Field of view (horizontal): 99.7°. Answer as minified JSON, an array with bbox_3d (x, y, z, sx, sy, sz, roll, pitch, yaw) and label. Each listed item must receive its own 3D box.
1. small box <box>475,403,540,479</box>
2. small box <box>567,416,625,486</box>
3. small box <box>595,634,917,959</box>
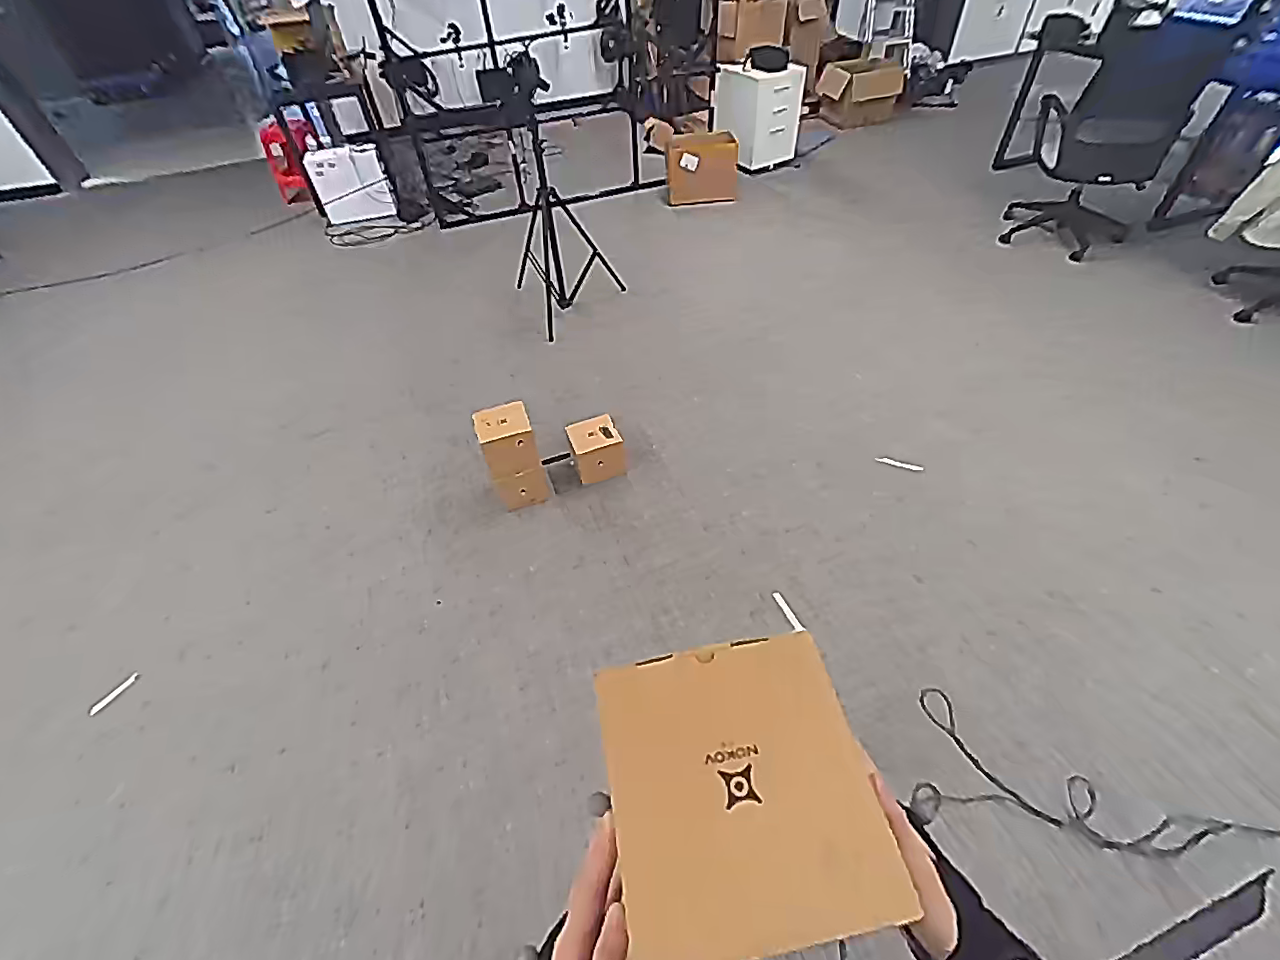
[{"bbox_3d":[-0.445,-0.131,1.838,0.179,0.176,0.168,-17,48,-11],"label":"small box"},{"bbox_3d":[-0.159,-0.107,2.017,0.179,0.176,0.168,-19,49,-11],"label":"small box"},{"bbox_3d":[0.065,0.244,0.406,0.168,0.176,0.179,-10,49,-5],"label":"small box"}]
